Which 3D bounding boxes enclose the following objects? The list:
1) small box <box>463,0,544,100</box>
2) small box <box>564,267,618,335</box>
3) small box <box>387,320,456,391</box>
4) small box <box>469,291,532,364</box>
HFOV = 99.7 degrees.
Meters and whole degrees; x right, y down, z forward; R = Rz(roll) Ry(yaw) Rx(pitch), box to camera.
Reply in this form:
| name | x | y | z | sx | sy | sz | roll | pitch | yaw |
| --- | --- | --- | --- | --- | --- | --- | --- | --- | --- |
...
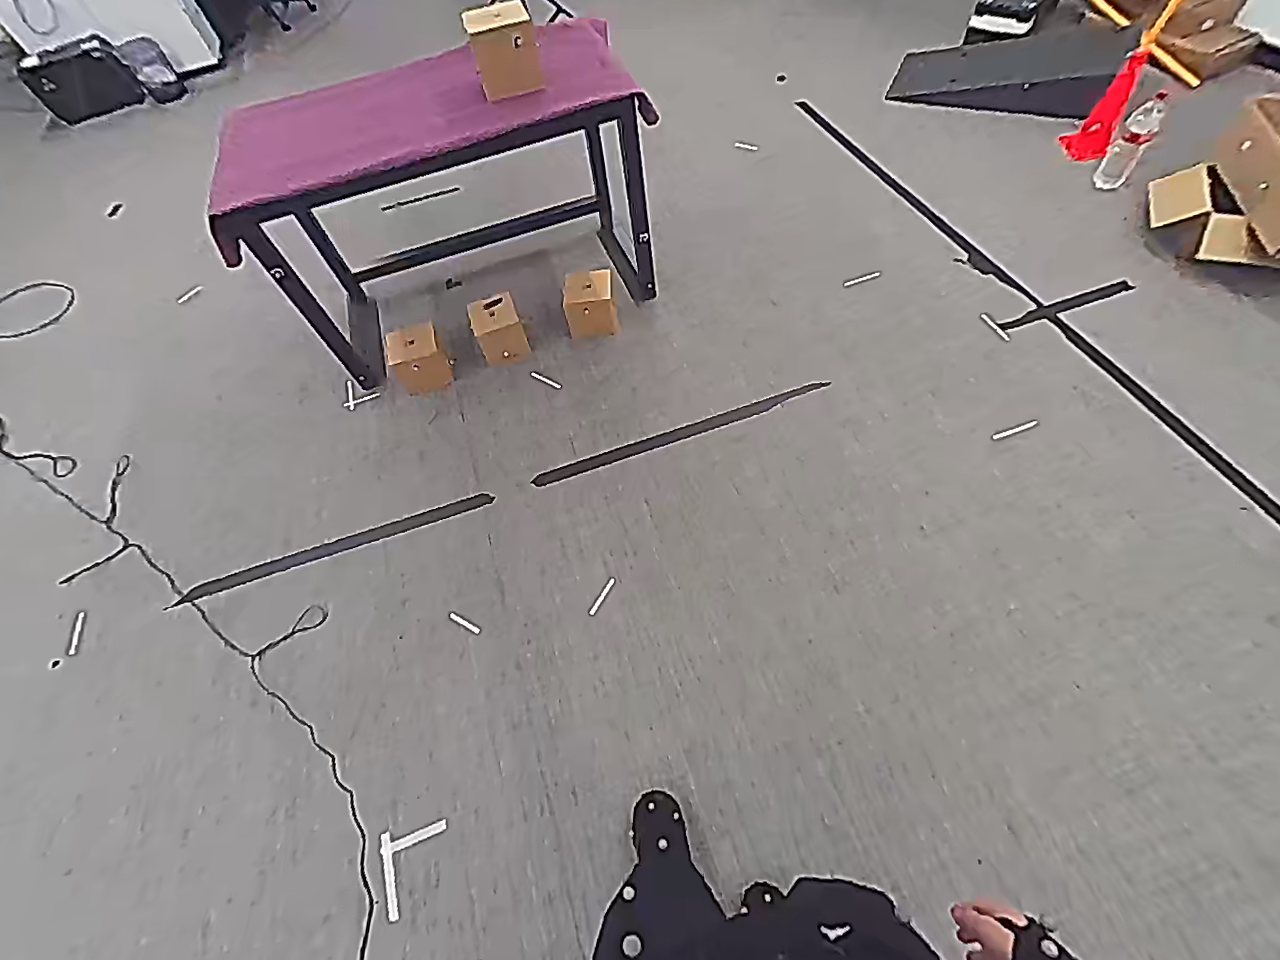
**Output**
| name | x | y | z | sx | sy | sz | roll | pitch | yaw |
| --- | --- | --- | --- | --- | --- | --- | --- | --- | --- |
| small box | -0.383 | -1.229 | 1.544 | 0.179 | 0.176 | 0.168 | -18 | 58 | -3 |
| small box | -0.179 | -0.671 | 2.040 | 0.179 | 0.176 | 0.168 | -6 | 59 | 6 |
| small box | -0.801 | -0.452 | 1.988 | 0.179 | 0.176 | 0.168 | -18 | 60 | -5 |
| small box | -0.519 | -0.567 | 2.019 | 0.168 | 0.176 | 0.179 | -20 | 60 | -5 |
